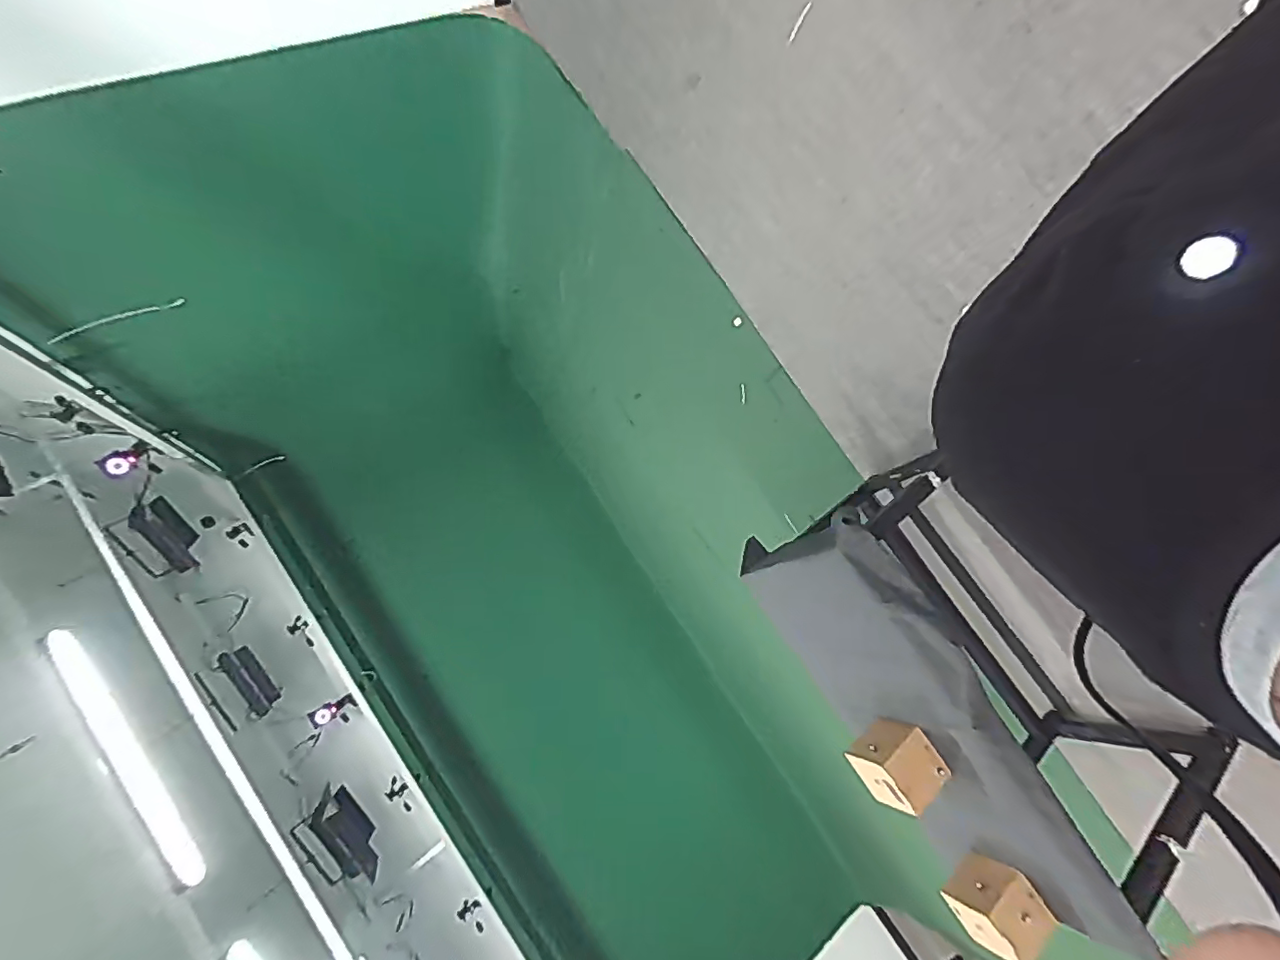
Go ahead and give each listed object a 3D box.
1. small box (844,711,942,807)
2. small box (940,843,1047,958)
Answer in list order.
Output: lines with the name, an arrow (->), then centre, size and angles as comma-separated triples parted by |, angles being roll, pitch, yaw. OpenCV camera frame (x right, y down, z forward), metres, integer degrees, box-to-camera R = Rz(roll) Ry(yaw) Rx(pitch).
small box -> 0.750, 0.810, 1.592 | 0.168, 0.176, 0.179 | 55, 159, 3
small box -> 1.023, 1.197, 1.557 | 0.168, 0.176, 0.179 | 56, 158, 6
